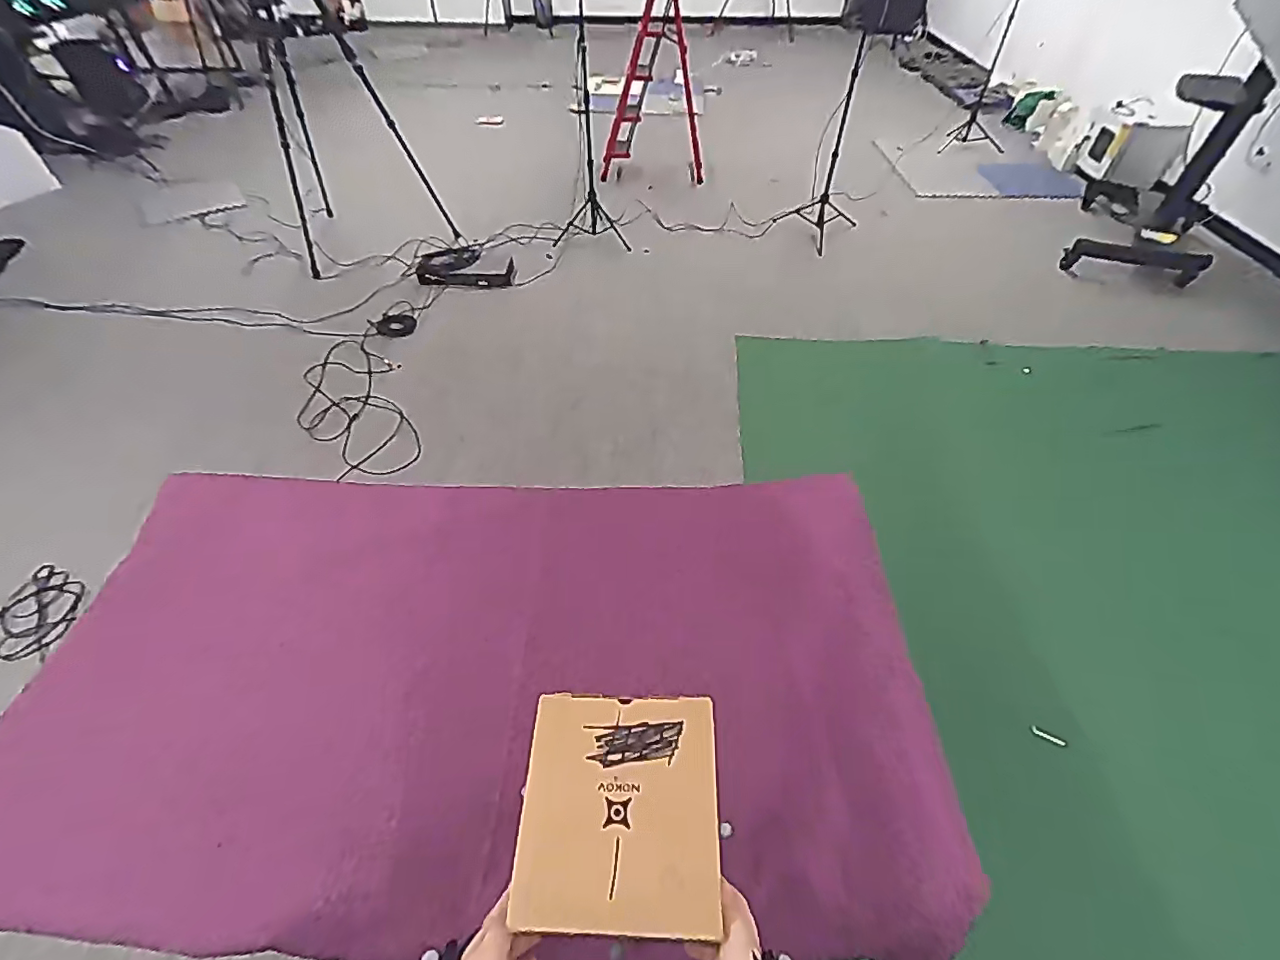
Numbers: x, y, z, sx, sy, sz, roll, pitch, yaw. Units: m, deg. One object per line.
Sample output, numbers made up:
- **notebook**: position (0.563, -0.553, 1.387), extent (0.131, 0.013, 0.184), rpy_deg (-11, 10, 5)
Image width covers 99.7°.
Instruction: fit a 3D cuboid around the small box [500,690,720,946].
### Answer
- **small box**: position (-0.015, 0.317, 0.509), extent (0.168, 0.176, 0.179), rpy_deg (-1, 49, 5)
